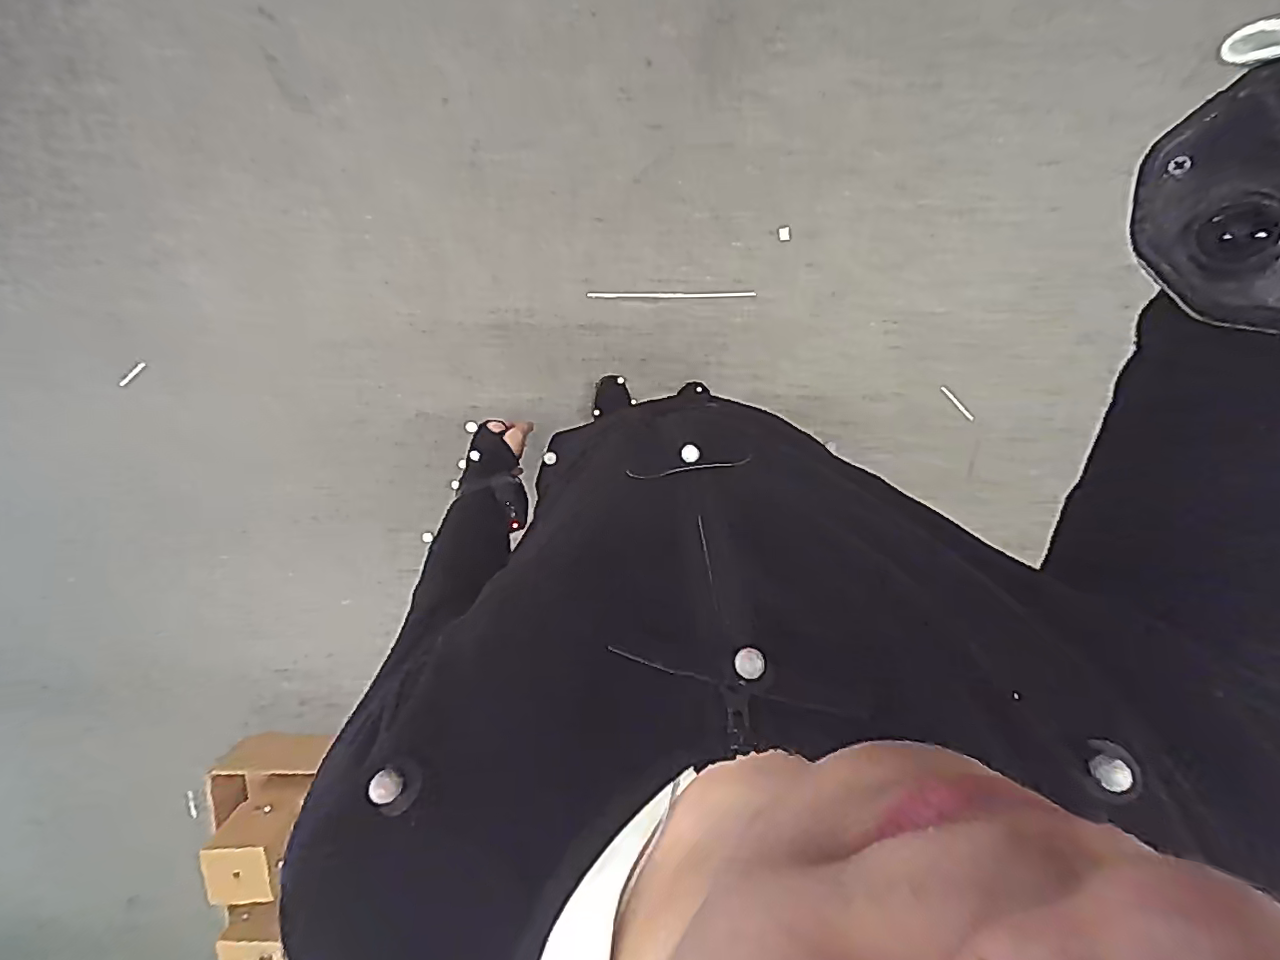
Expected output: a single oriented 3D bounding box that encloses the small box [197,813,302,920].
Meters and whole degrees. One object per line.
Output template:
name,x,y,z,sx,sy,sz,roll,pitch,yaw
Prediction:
small box,-1.059,1.056,1.485,0.168,0.176,0.179,-1,100,-3
